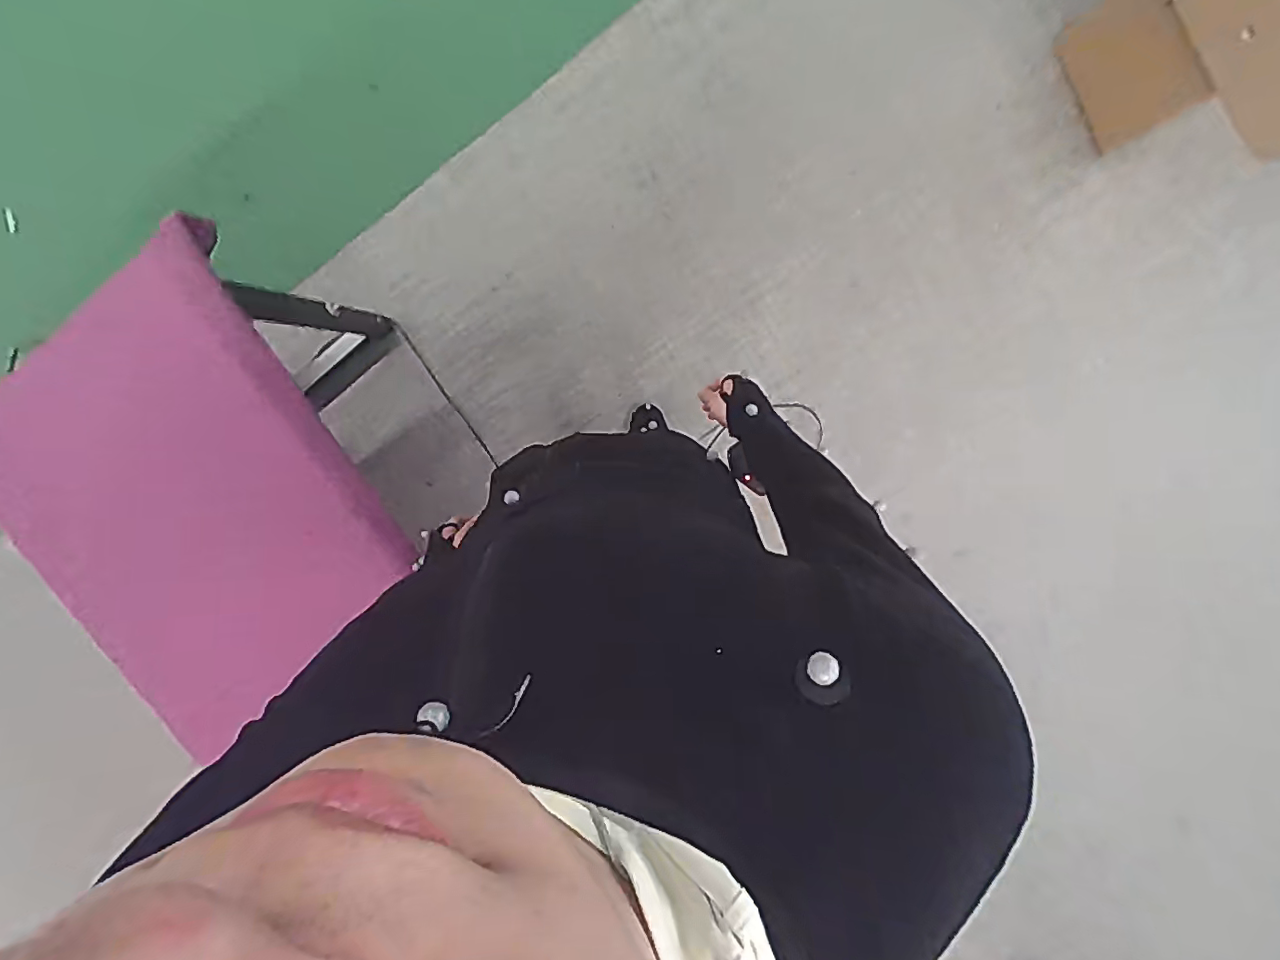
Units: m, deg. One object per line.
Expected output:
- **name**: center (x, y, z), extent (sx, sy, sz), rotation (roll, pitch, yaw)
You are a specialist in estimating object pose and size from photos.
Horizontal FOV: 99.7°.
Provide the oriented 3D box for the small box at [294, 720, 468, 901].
- **small box**: center (-0.436, 0.564, 0.941), extent (0.179, 0.176, 0.168), rotation (-37, 95, 10)
